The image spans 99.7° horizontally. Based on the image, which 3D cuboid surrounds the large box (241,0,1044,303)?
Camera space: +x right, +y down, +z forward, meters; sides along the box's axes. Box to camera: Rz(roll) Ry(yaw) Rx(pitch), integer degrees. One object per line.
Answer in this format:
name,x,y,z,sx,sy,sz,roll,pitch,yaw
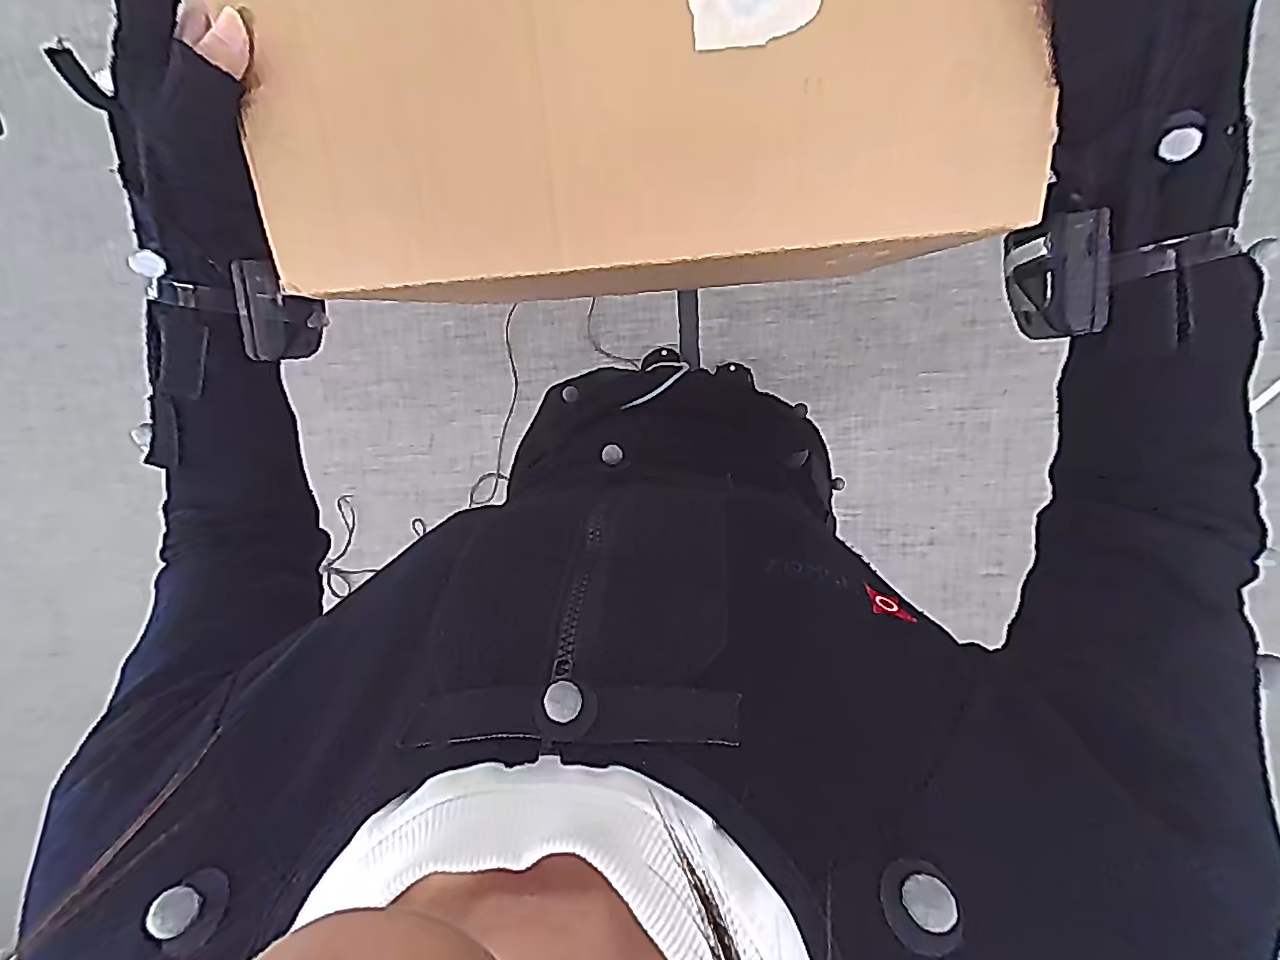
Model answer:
large box,0.000,-0.315,0.400,0.408,0.320,0.320,-3,107,6
